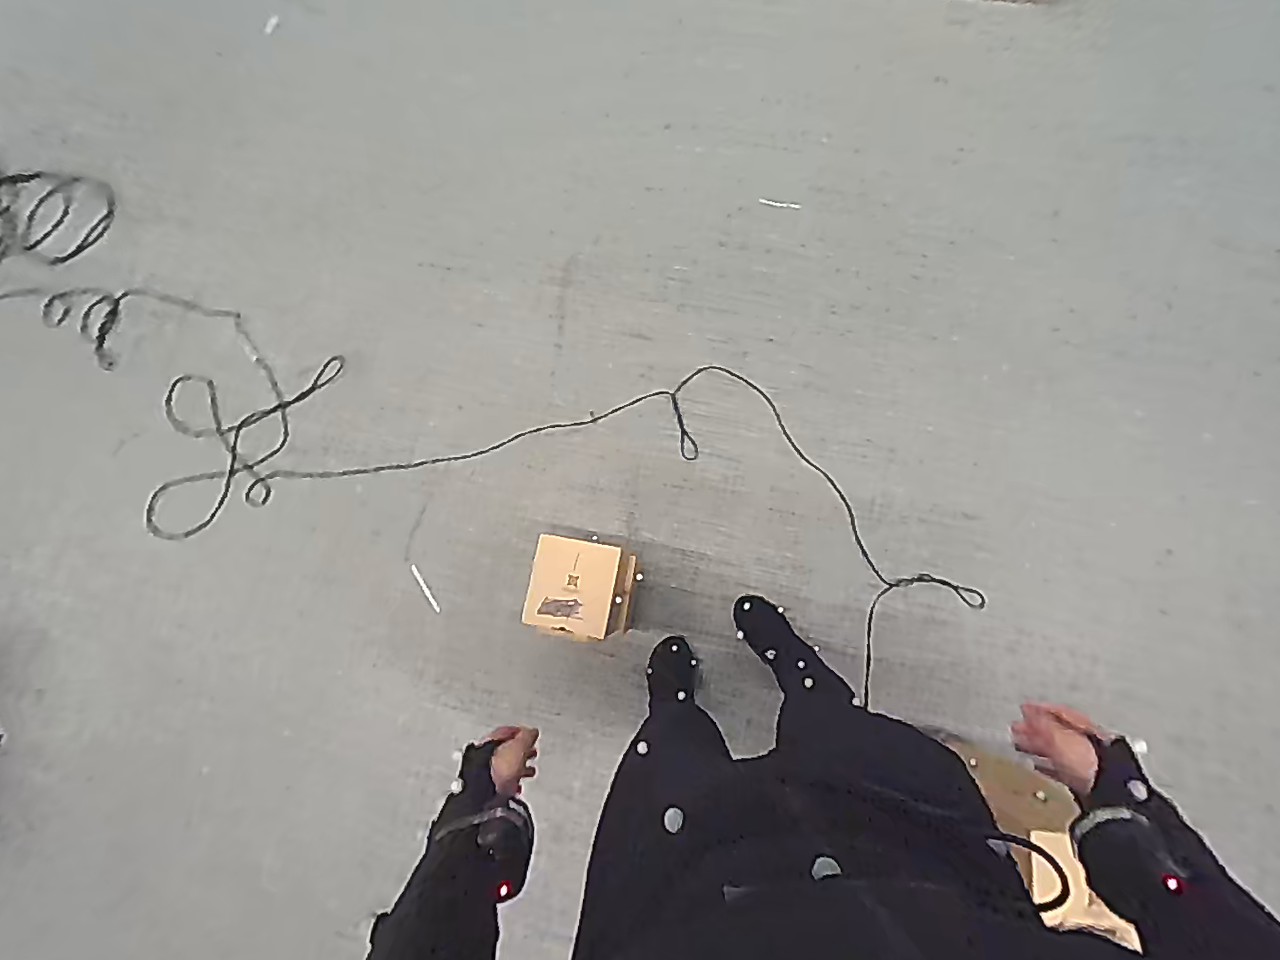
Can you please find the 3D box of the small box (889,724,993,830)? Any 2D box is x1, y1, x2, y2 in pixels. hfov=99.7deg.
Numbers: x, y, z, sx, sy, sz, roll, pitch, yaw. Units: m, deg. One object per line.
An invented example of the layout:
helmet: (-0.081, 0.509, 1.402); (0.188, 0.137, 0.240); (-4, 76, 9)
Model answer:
small box: (0.653, 0.640, 1.157); (0.179, 0.176, 0.168); (9, 83, 6)

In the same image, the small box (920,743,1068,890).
small box: (0.640, 0.605, 0.998); (0.179, 0.176, 0.168); (6, 83, 4)

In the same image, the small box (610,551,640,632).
small box: (-0.095, 0.249, 1.276); (0.168, 0.176, 0.179); (8, 81, 7)

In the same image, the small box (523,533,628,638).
small box: (-0.124, 0.215, 1.117); (0.168, 0.176, 0.179); (9, 81, 6)
